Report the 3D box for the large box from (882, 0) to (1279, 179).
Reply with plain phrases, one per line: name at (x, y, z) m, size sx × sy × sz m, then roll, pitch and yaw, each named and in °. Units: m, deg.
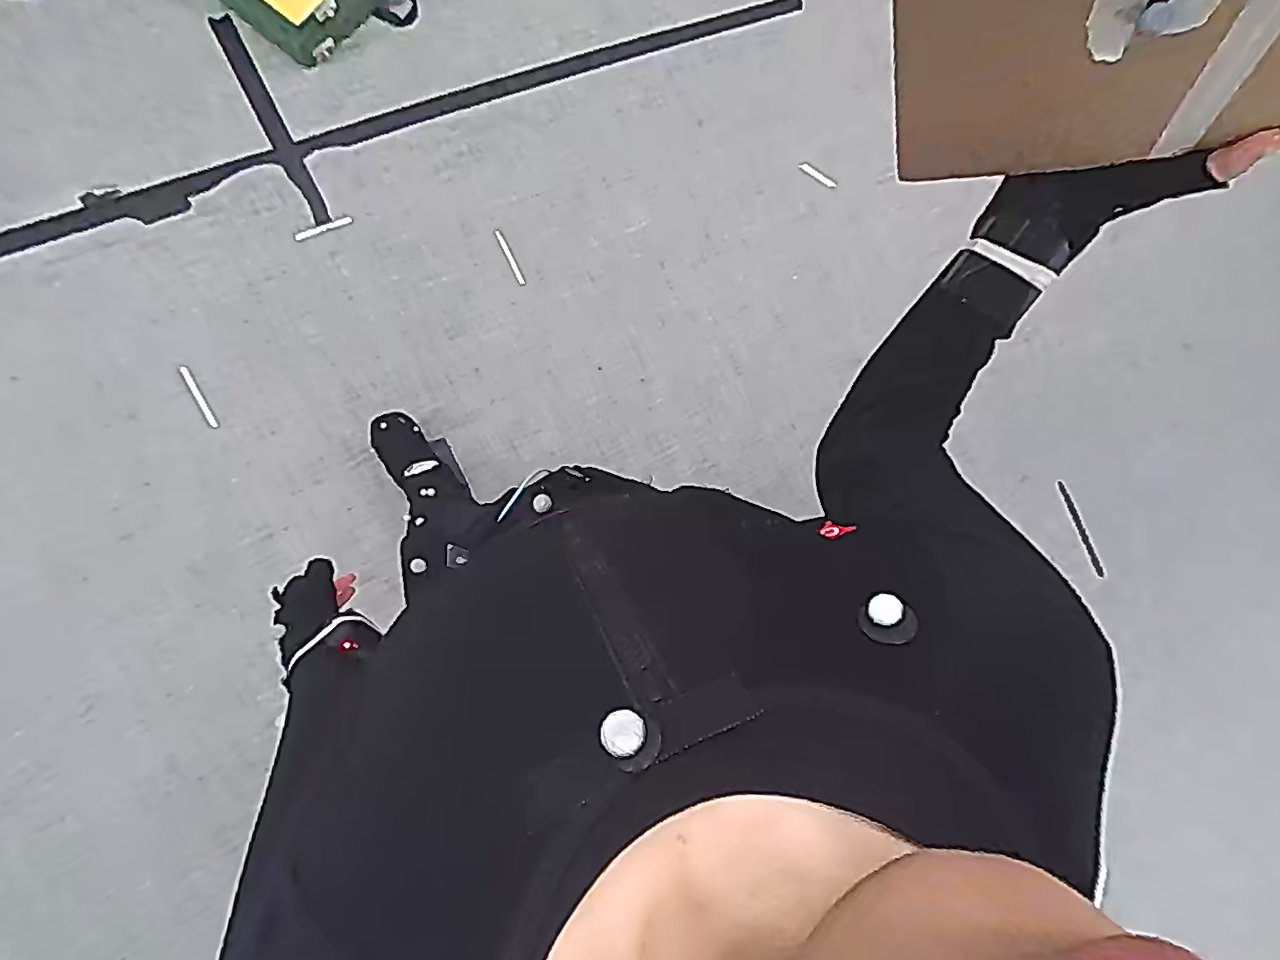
large box at (0.271, -0.375, 0.182) m, size 0.320 × 0.408 × 0.320 m, roll 11°, pitch 92°, yaw 26°
